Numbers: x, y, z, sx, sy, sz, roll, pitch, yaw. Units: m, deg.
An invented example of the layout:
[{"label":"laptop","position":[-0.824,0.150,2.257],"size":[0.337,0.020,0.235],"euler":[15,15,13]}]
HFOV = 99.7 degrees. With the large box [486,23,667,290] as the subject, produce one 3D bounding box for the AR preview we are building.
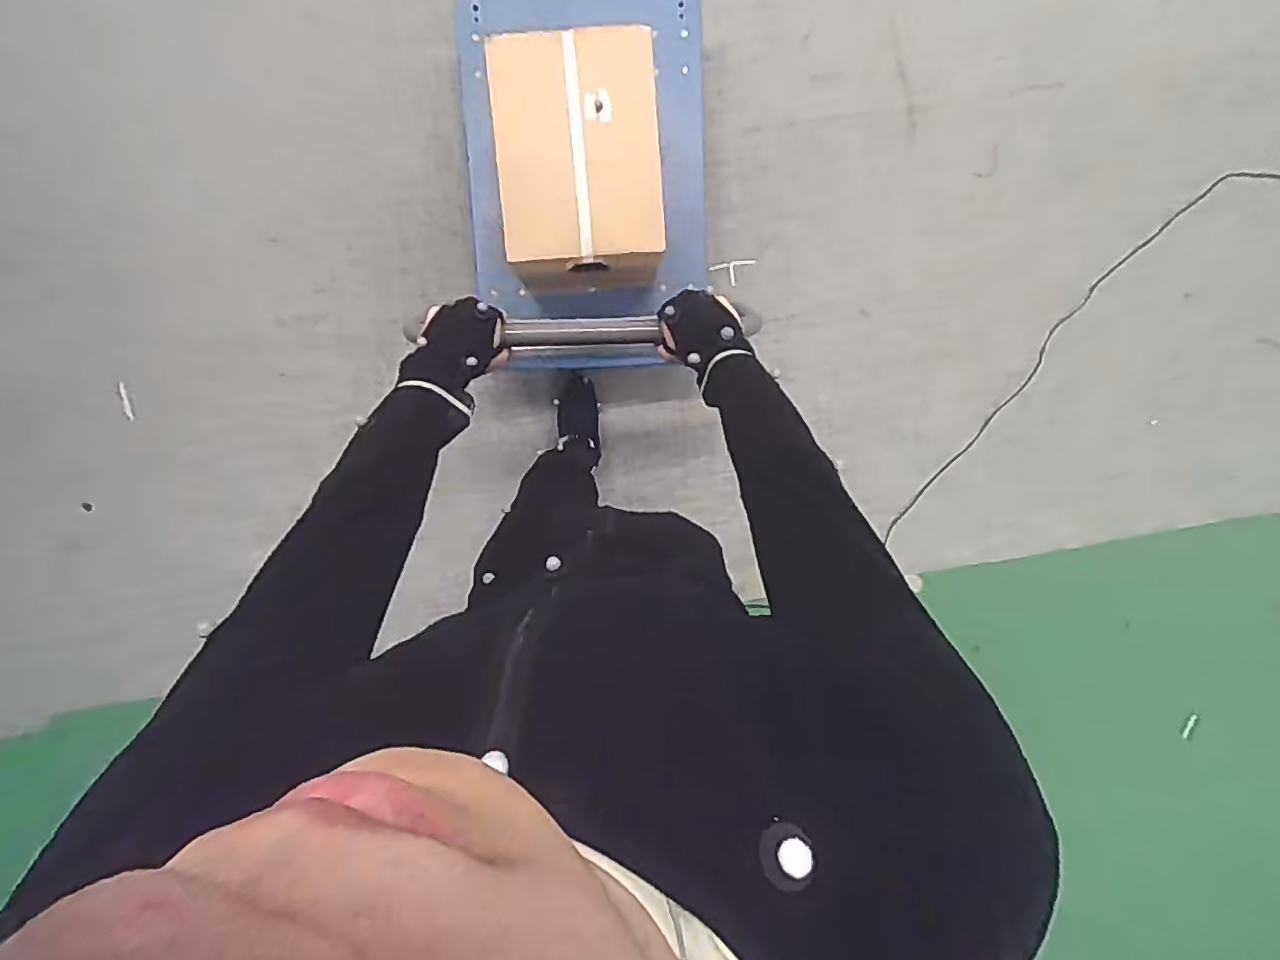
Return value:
[{"label":"large box","position":[-0.121,-0.663,1.181],"size":[0.320,0.320,0.408],"euler":[-5,98,-2]}]
